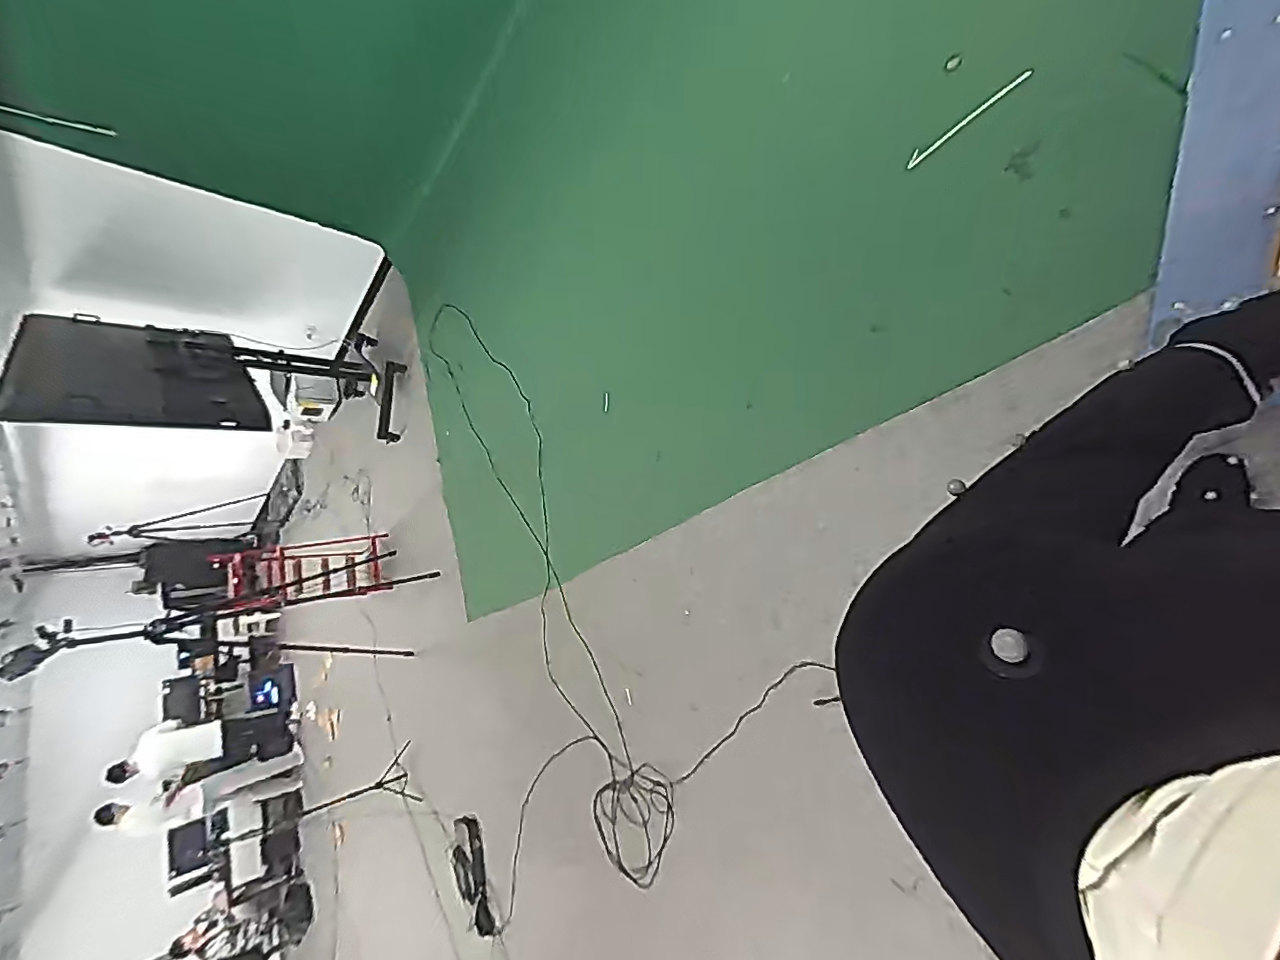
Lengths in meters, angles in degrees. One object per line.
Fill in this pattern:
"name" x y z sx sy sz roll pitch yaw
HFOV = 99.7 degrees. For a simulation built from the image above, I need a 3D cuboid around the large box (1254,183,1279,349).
"large box" 1.153 -0.425 0.779 0.320 0.320 0.408 11 96 44
